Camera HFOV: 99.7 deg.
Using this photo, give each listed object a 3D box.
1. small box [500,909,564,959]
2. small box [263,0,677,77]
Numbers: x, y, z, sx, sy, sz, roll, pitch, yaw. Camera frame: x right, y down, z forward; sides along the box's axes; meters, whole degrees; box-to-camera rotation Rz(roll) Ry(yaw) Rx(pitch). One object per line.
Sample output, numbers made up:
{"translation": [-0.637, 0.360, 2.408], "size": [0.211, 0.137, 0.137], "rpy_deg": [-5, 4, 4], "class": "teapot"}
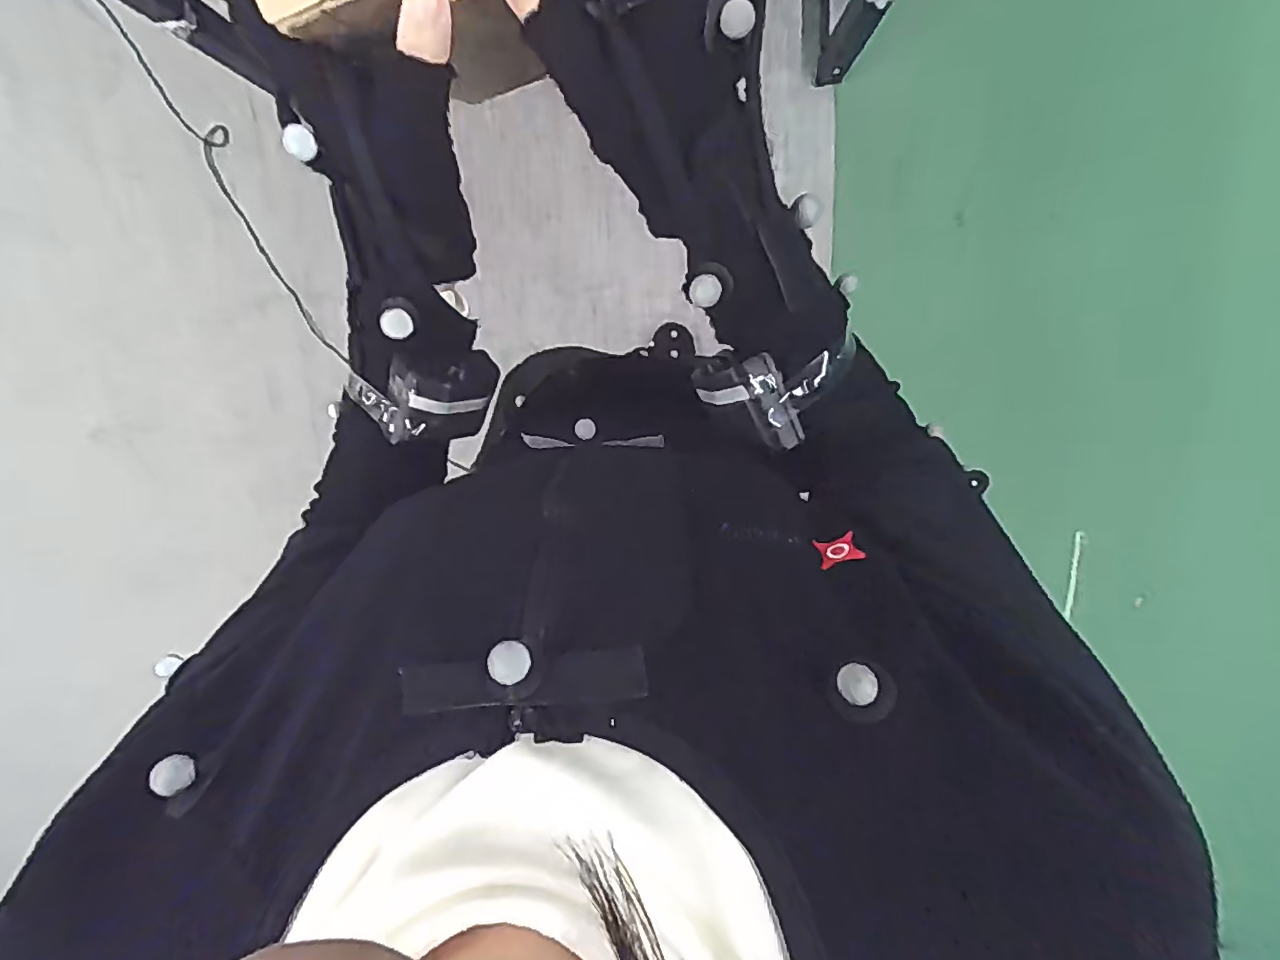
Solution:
{"translation": [-0.344, 1.529, 1.744], "size": [0.179, 0.176, 0.168], "rpy_deg": [1, 105, 0], "class": "small box"}
{"translation": [-0.082, -0.316, 0.245], "size": [0.168, 0.176, 0.179], "rpy_deg": [-7, 112, 16], "class": "small box"}
